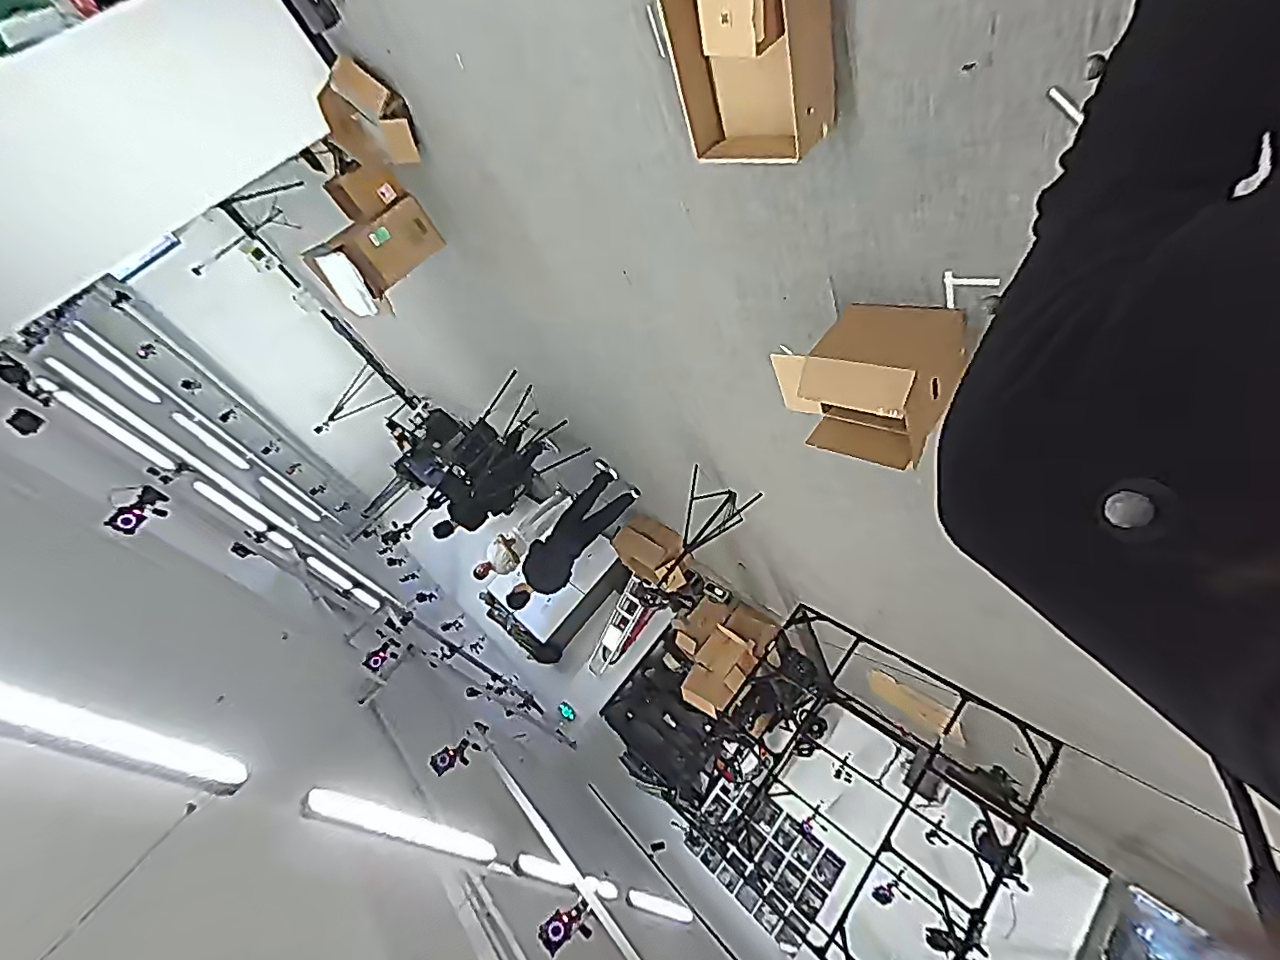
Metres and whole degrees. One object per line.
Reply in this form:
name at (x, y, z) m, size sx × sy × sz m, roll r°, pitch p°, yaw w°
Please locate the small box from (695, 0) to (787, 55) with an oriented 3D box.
small box at (0.262, -1.221, 1.376) m, size 0.179 × 0.176 × 0.168 m, roll 31°, pitch 160°, yaw 30°
